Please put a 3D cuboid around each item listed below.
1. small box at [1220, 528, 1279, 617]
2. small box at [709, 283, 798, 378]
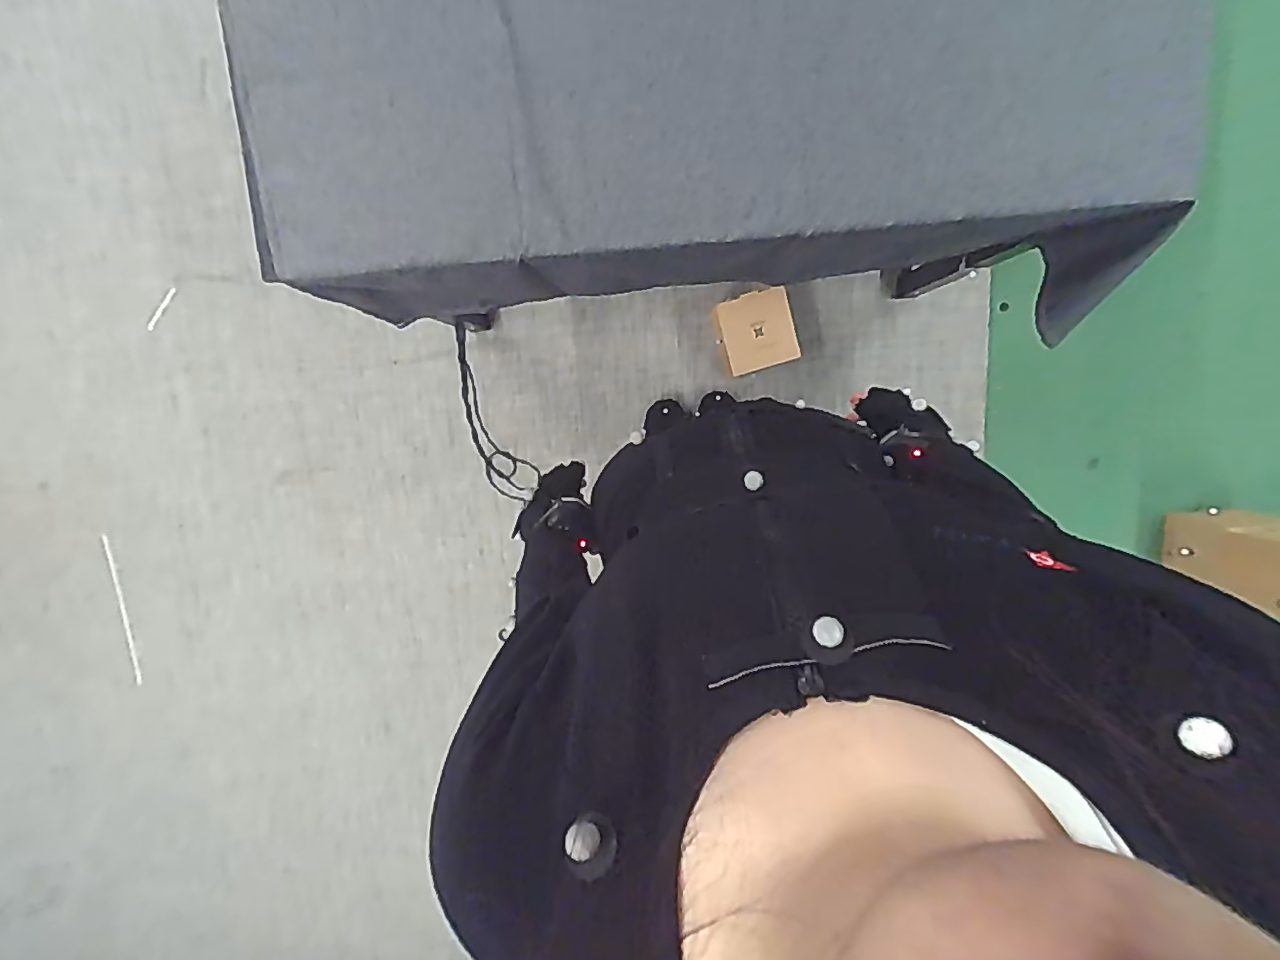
[{"bbox_3d":[1.463,0.207,1.206,0.168,0.176,0.179,-6,99,3],"label":"small box"},{"bbox_3d":[0.273,-0.361,1.336,0.168,0.176,0.179,-15,97,5],"label":"small box"}]
